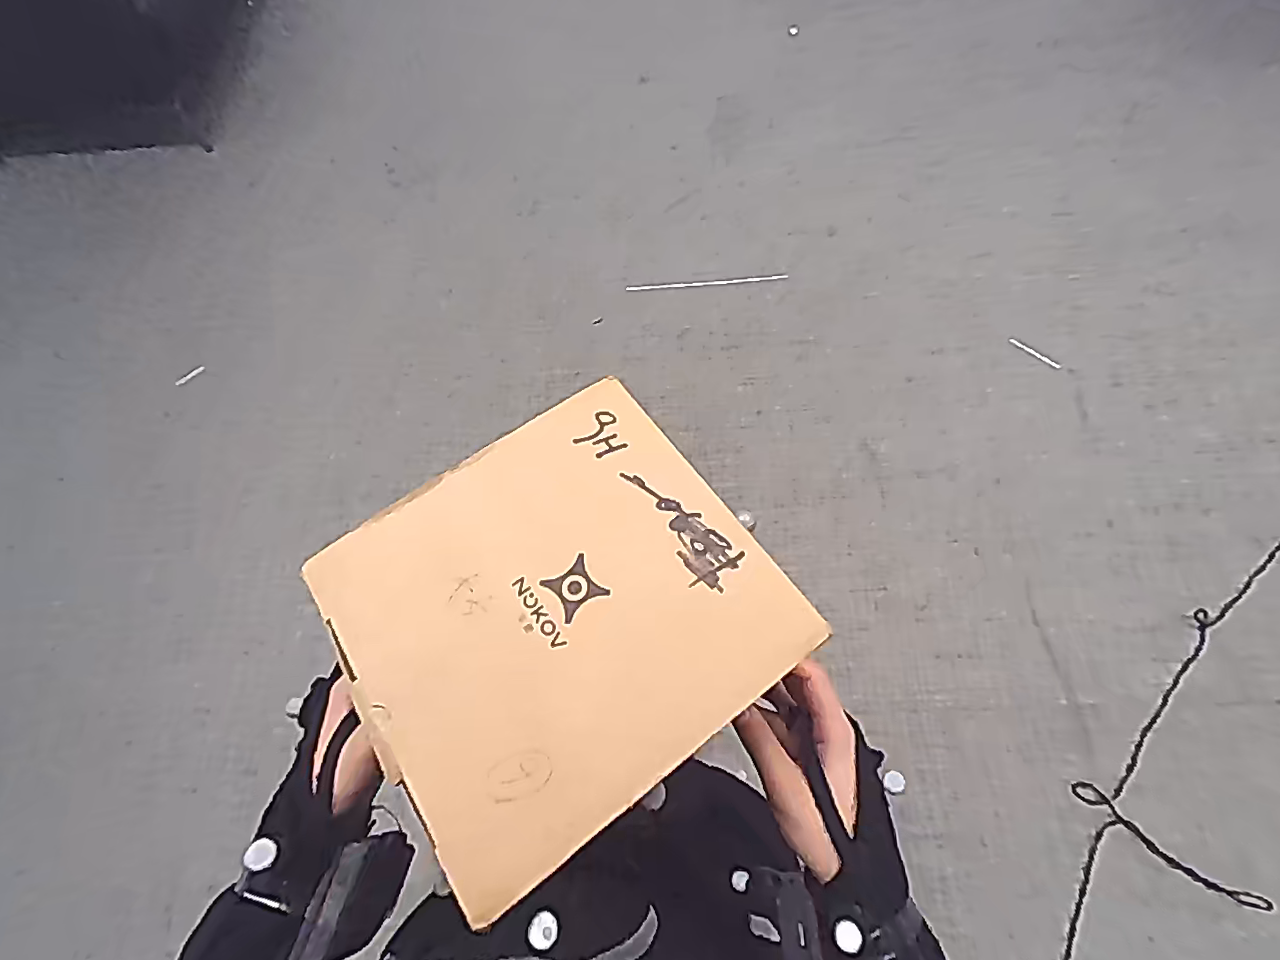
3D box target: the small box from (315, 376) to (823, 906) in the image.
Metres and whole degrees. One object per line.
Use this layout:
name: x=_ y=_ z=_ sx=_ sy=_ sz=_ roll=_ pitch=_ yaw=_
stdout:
small box: x=-0.032 y=0.082 z=0.311 sx=0.179 sy=0.176 sz=0.168 roll=-34 pitch=69 yaw=-12
